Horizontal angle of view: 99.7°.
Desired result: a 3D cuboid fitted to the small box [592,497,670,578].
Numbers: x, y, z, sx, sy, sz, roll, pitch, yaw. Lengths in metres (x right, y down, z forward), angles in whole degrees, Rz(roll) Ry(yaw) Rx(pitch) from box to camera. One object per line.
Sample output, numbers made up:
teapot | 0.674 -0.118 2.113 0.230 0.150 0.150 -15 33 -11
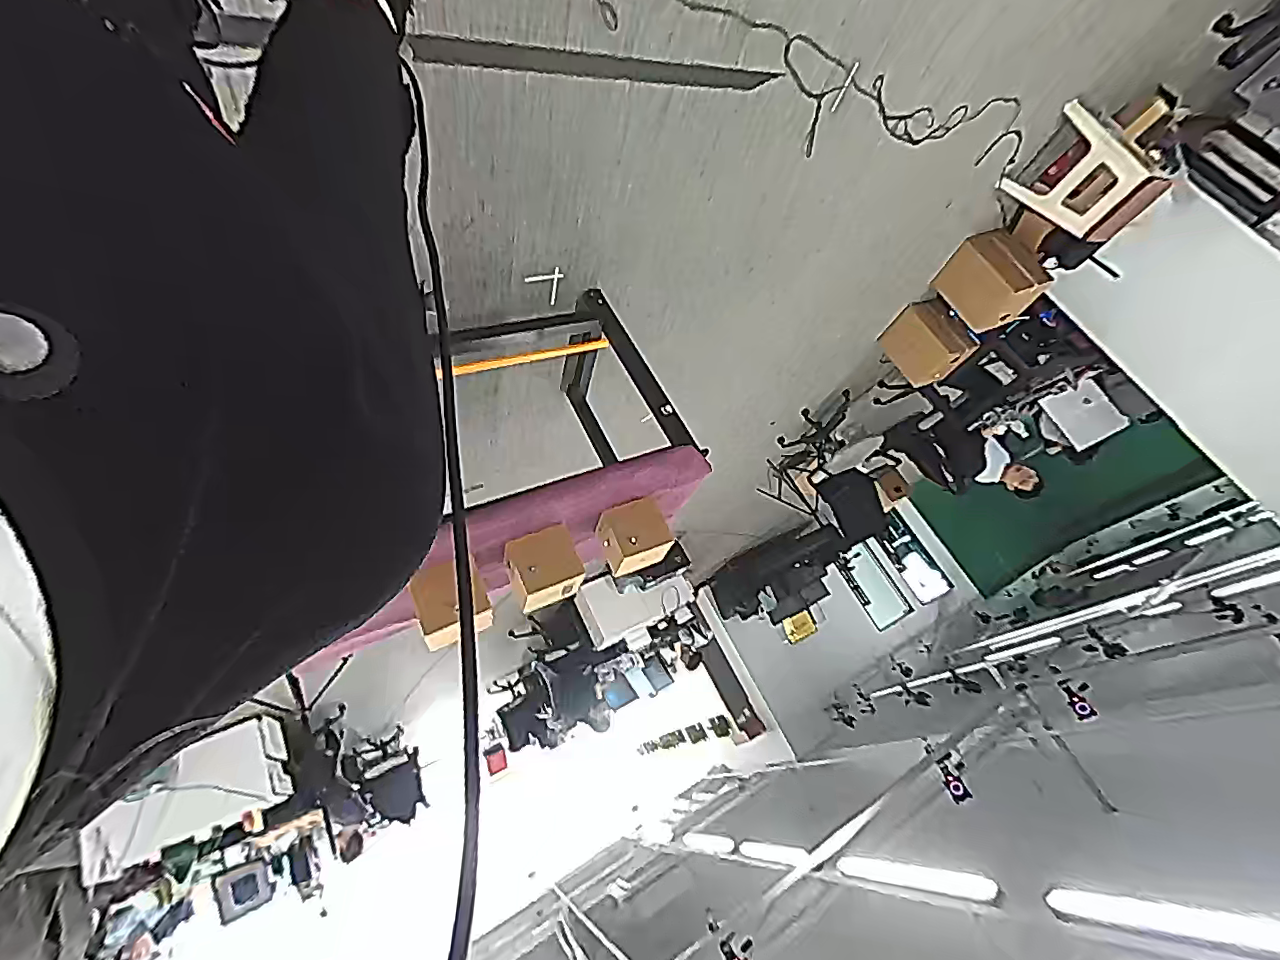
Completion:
small box | -0.035 0.179 1.700 0.179 0.176 0.168 -17 157 -23

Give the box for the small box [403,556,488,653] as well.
small box | -0.519 0.329 1.439 0.179 0.176 0.168 -20 157 -25
